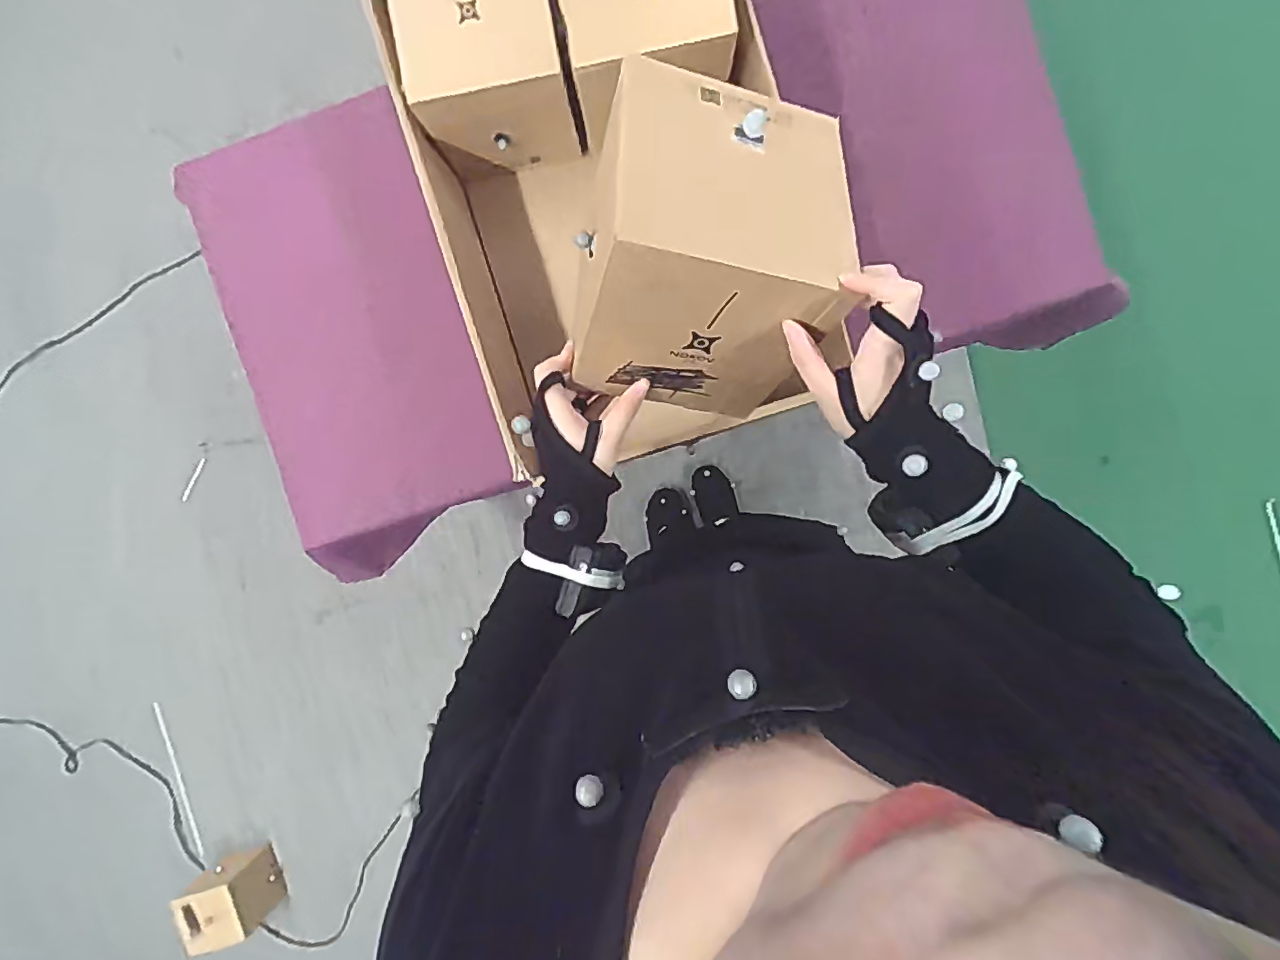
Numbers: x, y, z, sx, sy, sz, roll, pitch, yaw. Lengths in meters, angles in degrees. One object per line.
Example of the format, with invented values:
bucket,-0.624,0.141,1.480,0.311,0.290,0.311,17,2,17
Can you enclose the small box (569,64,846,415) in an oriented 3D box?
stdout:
small box,0.042,-0.177,0.440,0.168,0.179,0.176,8,67,-12
